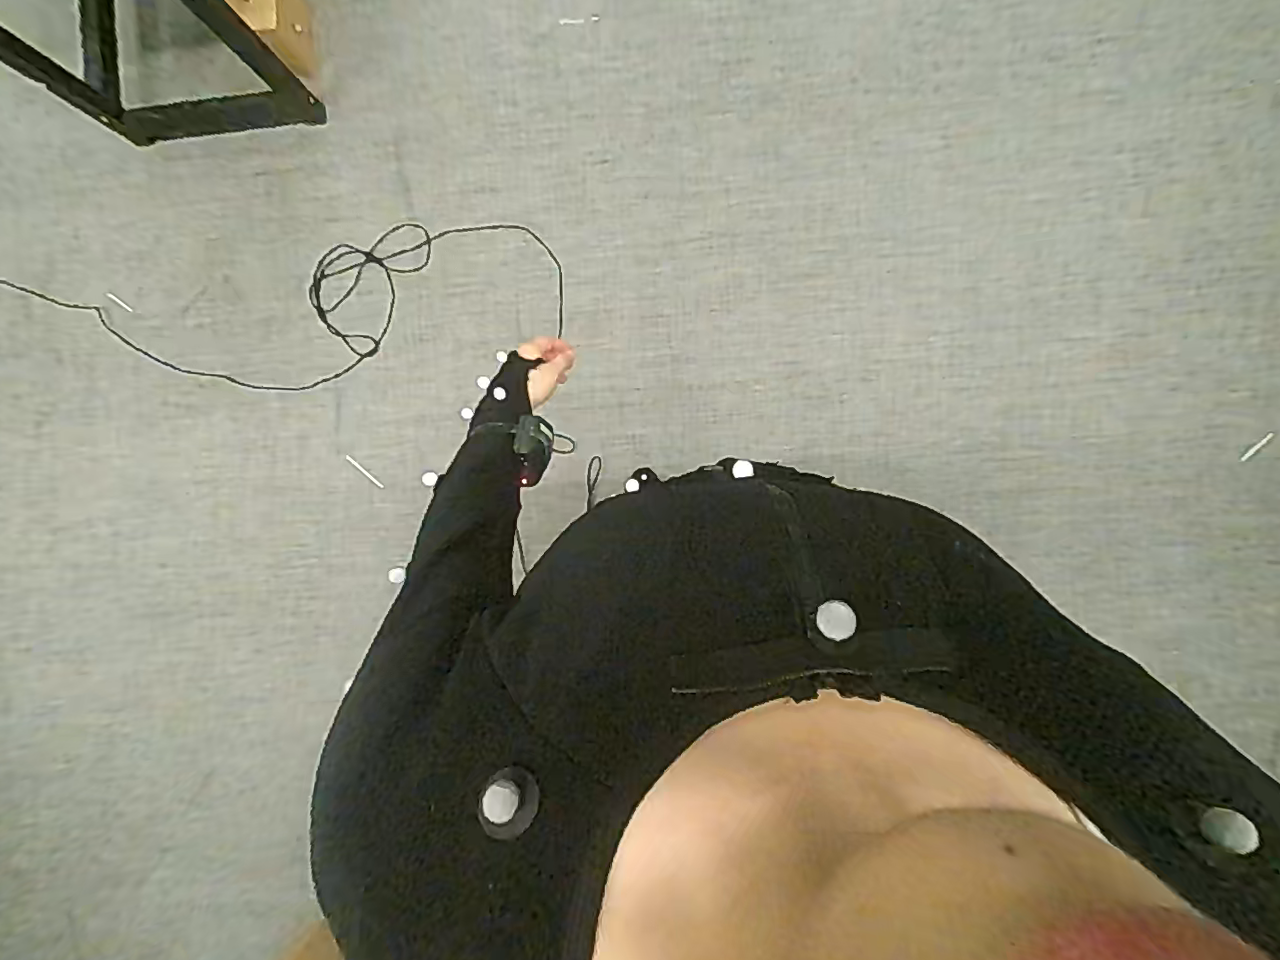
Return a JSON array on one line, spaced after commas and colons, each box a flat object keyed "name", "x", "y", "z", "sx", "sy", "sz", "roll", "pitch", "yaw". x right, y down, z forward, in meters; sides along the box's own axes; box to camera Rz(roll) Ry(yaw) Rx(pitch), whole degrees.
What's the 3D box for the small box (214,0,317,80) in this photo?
[{"name": "small box", "x": -1.008, "y": -1.230, "z": 1.469, "sx": 0.179, "sy": 0.176, "sz": 0.168, "roll": 0, "pitch": 91, "yaw": 4}]
